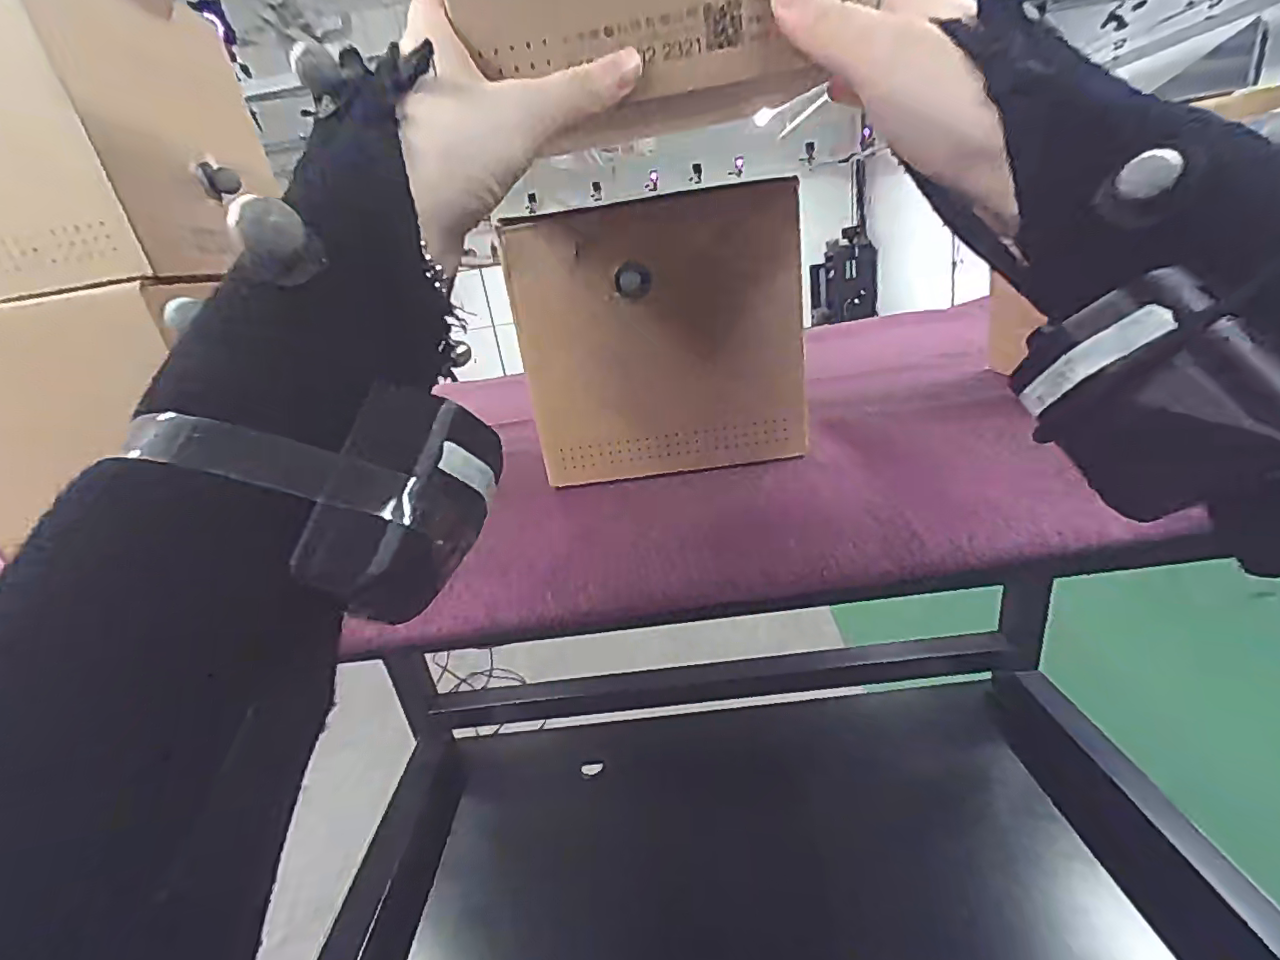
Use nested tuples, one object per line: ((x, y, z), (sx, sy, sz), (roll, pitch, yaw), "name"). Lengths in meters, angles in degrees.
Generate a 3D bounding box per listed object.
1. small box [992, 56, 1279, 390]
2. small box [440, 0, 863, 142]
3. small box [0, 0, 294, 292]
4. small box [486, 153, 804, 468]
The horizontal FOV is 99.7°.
((0.368, -0.163, 0.367), (0.168, 0.176, 0.179), (-8, 20, 7), "small box")
((-0.007, -0.268, 0.244), (0.168, 0.176, 0.179), (-10, 29, 3), "small box")
((-0.364, -0.201, 0.330), (0.179, 0.176, 0.168), (-10, 22, 0), "small box")
((0.012, -0.114, 0.399), (0.179, 0.176, 0.168), (-7, 20, 4), "small box")
